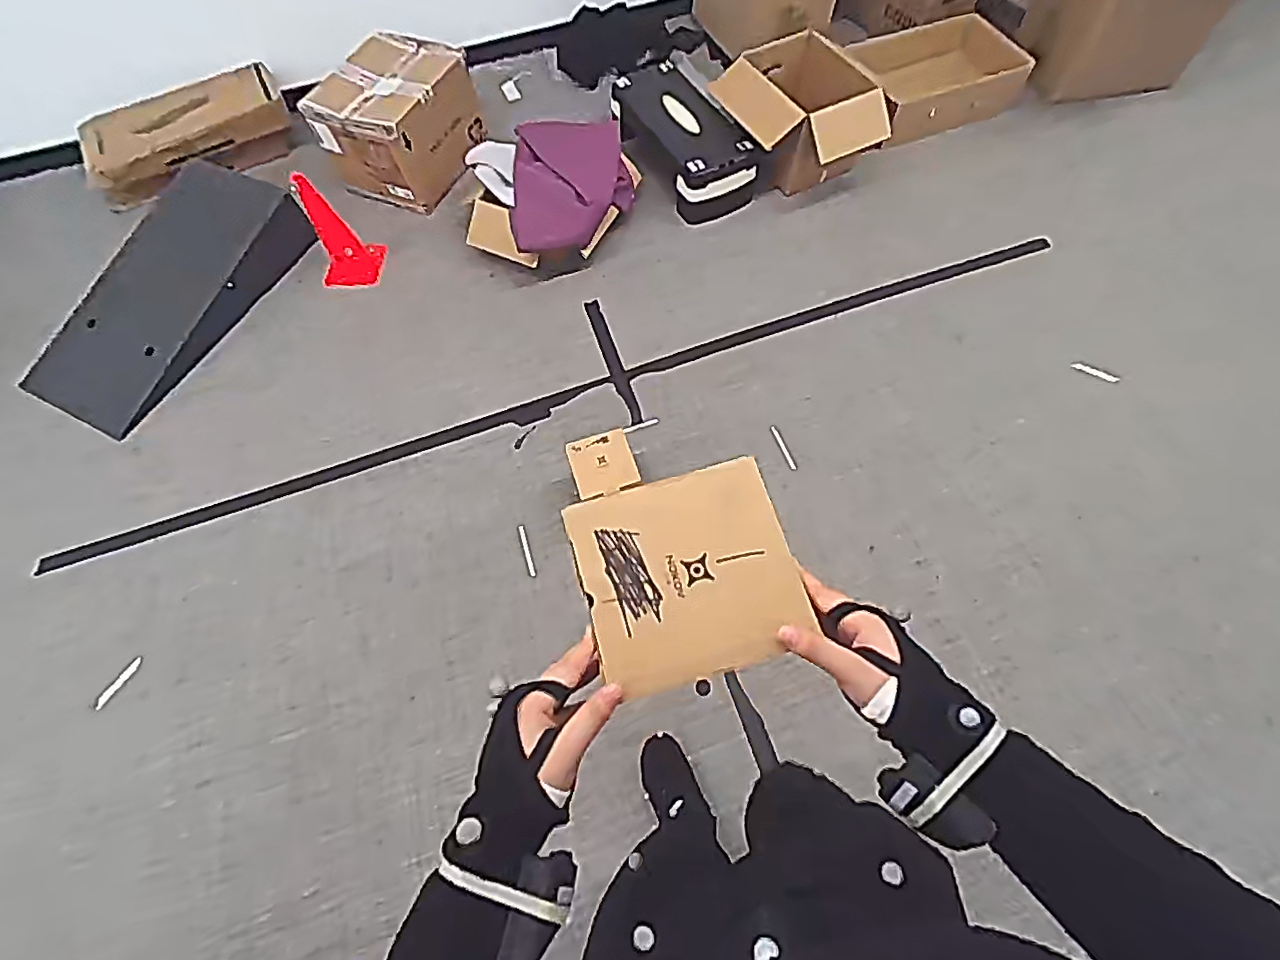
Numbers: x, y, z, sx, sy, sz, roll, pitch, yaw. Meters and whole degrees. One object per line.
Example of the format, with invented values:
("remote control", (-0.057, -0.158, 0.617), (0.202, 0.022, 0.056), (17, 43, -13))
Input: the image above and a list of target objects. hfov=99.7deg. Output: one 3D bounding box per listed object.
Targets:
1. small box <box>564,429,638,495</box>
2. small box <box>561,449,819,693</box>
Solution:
("small box", (-0.098, -0.009, 1.487), (0.168, 0.176, 0.179), (-17, 66, -5))
("small box", (0.039, 0.095, 0.511), (0.179, 0.176, 0.168), (-15, 71, -4))
